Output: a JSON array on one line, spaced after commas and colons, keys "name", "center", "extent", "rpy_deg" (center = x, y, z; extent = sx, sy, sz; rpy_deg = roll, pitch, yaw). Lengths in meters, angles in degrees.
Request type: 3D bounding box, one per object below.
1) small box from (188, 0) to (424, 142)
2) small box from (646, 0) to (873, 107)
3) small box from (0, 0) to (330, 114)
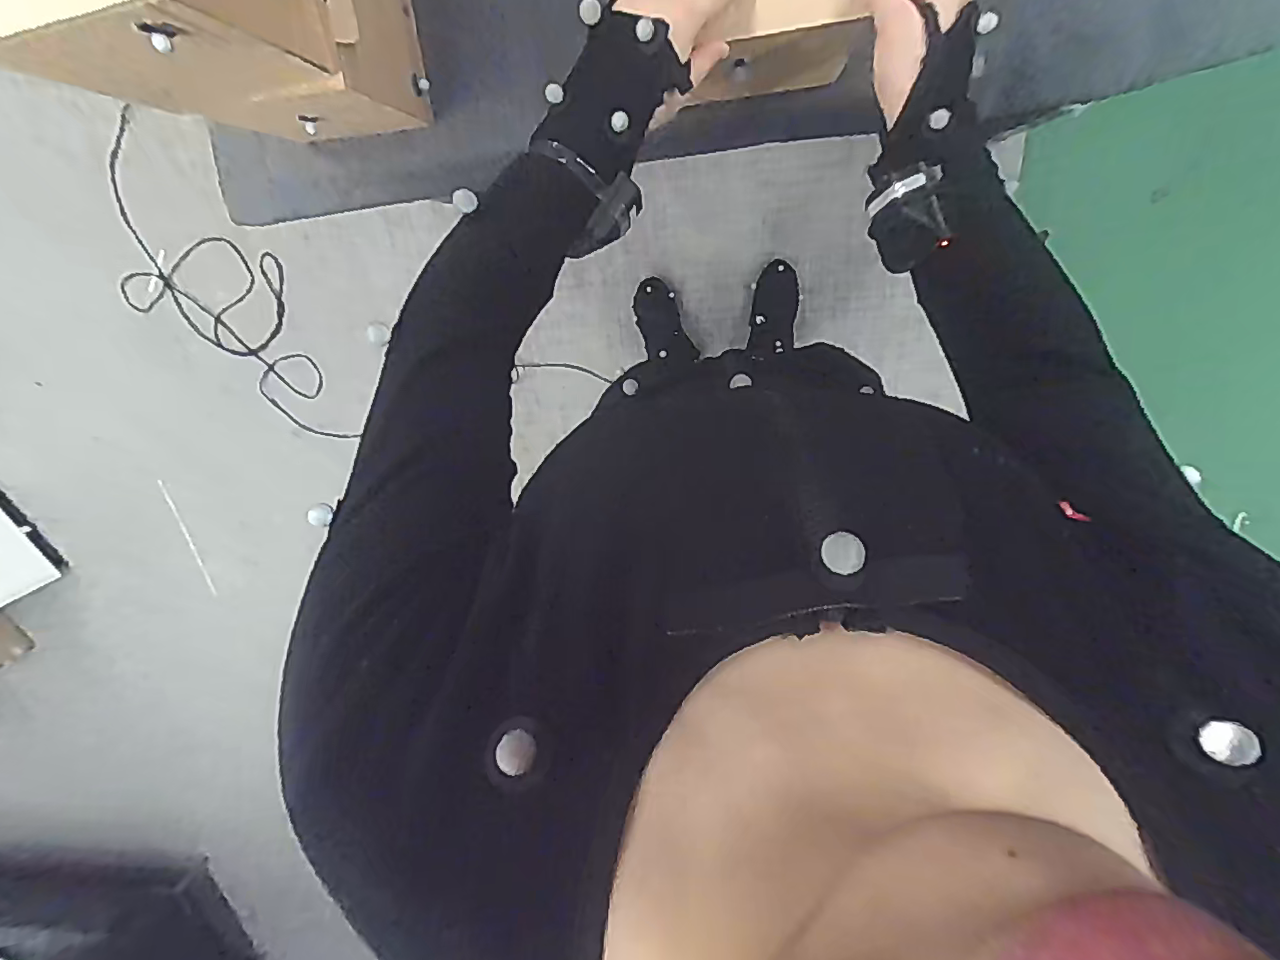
[{"name": "small box", "center": [-0.340, -0.453, 0.540], "extent": [0.179, 0.176, 0.168], "rpy_deg": [-1, 113, 9]}, {"name": "small box", "center": [0.100, -0.455, 0.476], "extent": [0.179, 0.176, 0.168], "rpy_deg": [-2, 111, 11]}, {"name": "small box", "center": [-0.377, -0.393, 0.393], "extent": [0.179, 0.176, 0.168], "rpy_deg": [-6, 112, 10]}]
